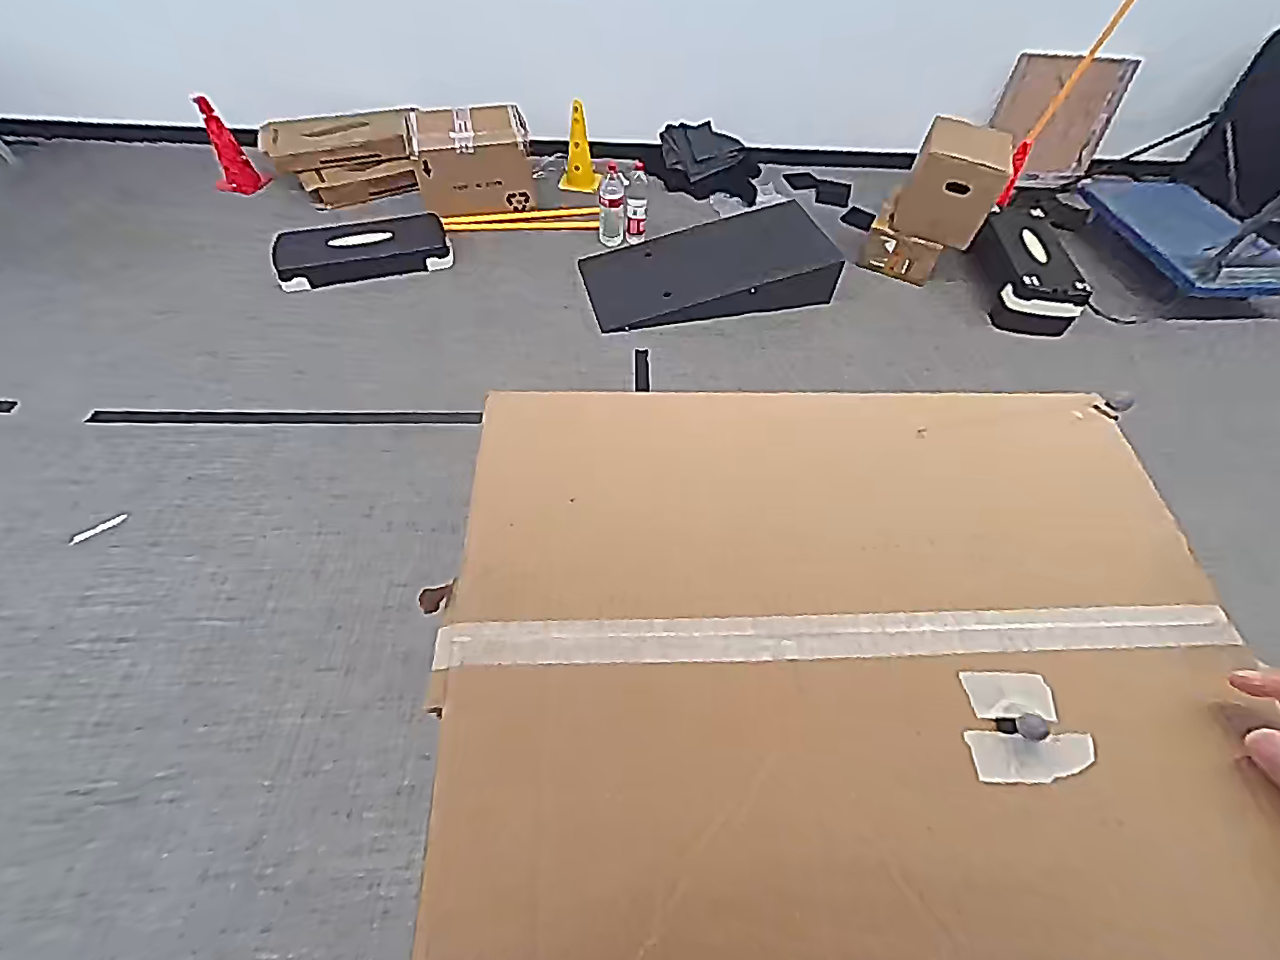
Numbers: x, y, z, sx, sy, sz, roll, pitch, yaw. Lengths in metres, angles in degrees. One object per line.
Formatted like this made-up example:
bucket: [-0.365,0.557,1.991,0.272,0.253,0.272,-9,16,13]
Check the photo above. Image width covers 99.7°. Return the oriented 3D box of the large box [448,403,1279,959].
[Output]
large box: [0.103,0.155,0.419,0.408,0.320,0.320,0,61,-4]
